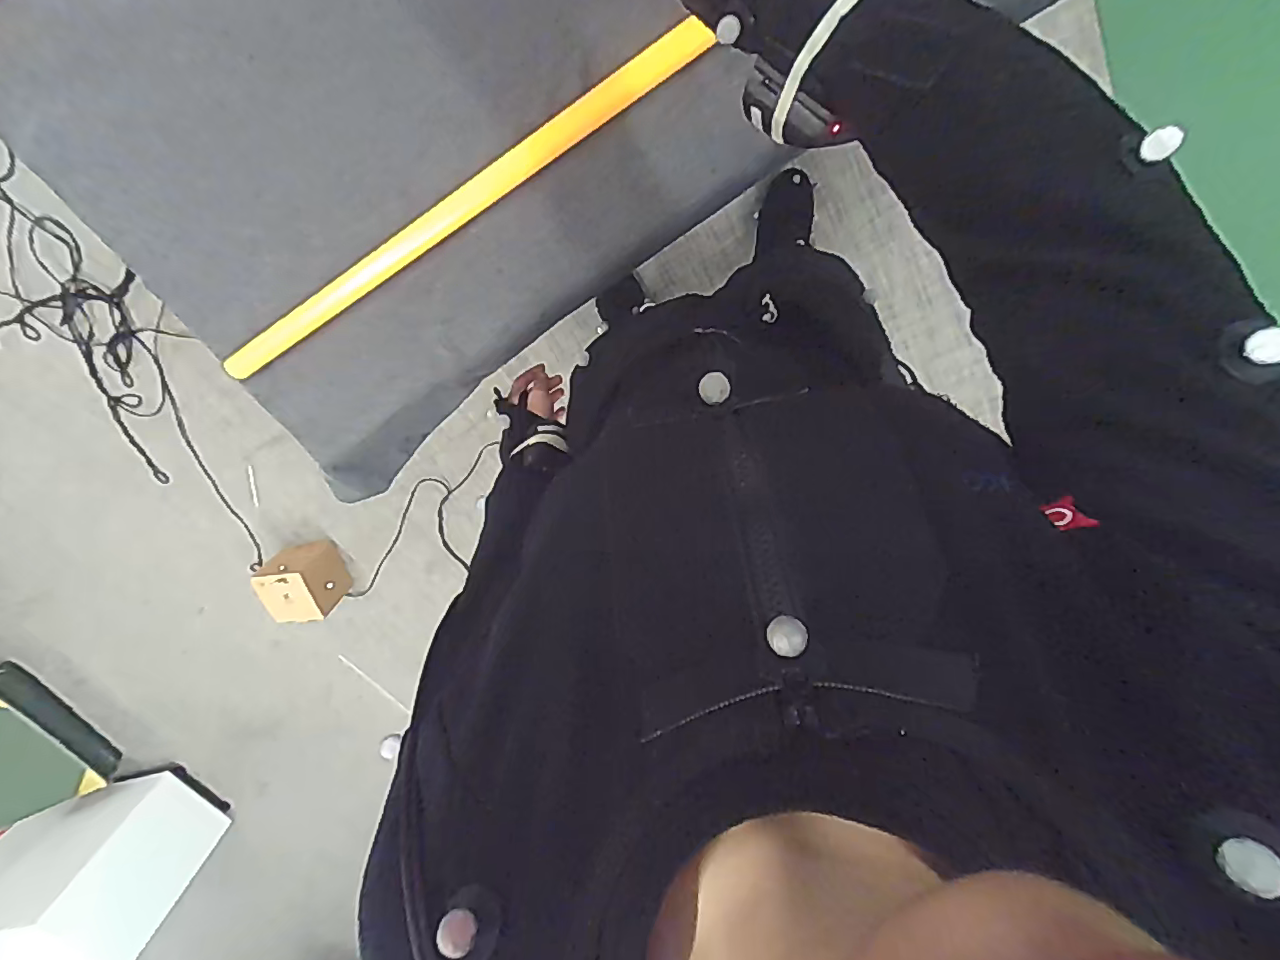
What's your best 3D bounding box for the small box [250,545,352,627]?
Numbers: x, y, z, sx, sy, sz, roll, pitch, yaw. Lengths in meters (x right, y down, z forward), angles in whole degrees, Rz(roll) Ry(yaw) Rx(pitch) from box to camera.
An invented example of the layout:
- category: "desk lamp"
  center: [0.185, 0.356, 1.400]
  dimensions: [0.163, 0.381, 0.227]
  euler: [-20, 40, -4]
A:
- category: "small box"
  center: [-1.016, 0.319, 1.639]
  dimensions: [0.168, 0.176, 0.179]
  euler: [-7, 117, 9]
